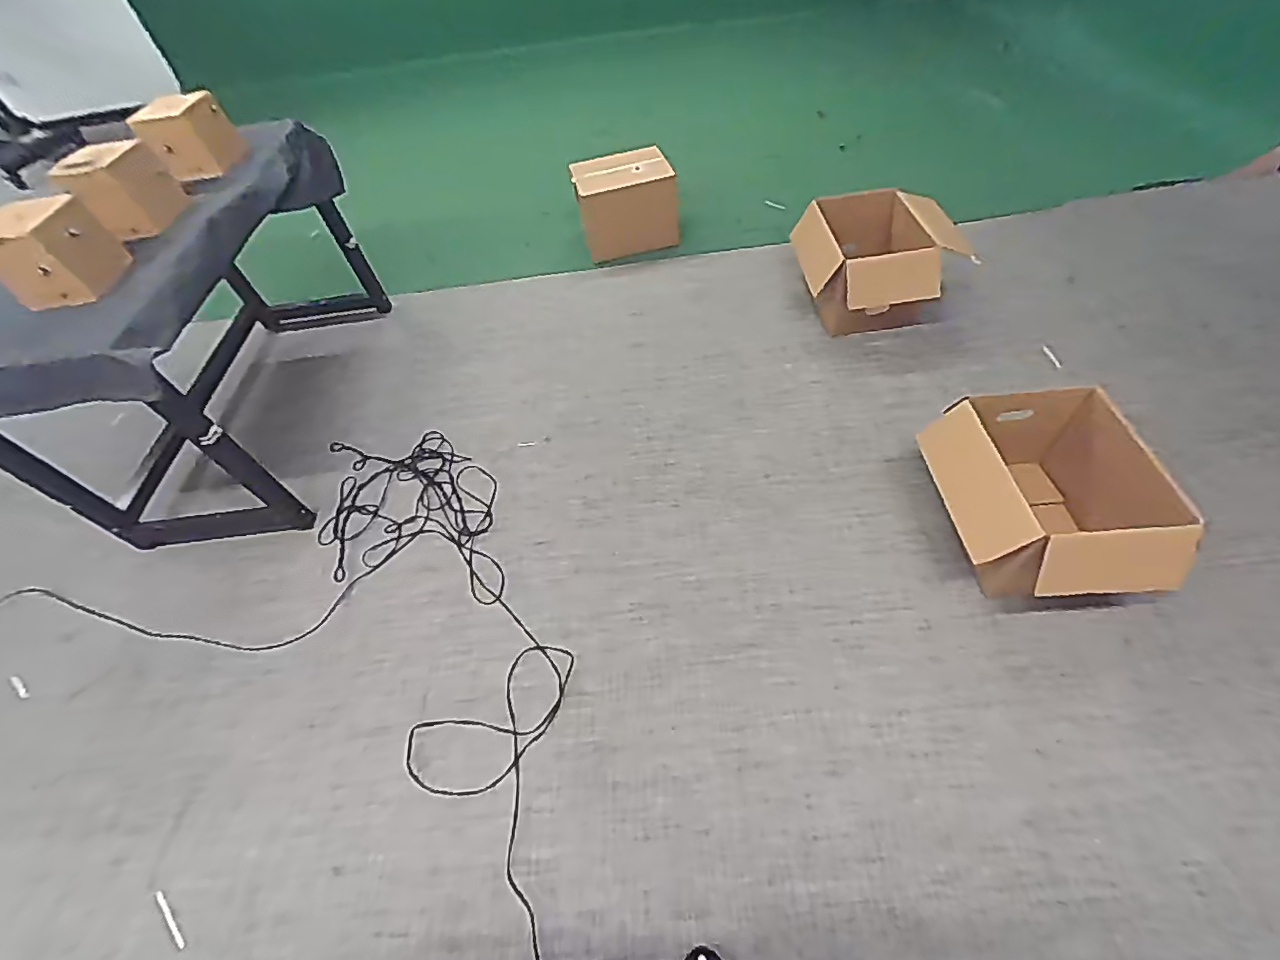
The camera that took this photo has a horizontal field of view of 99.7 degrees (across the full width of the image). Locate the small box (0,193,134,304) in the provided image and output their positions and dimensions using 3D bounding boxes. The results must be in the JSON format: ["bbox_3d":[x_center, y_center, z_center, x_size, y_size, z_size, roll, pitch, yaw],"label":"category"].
[{"bbox_3d":[-1.323,-0.517,1.227,0.168,0.176,0.179,-7,52,2],"label":"small box"}]

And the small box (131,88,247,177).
[{"bbox_3d":[-1.316,-1.016,1.594,0.168,0.176,0.179,-5,53,5],"label":"small box"}]
